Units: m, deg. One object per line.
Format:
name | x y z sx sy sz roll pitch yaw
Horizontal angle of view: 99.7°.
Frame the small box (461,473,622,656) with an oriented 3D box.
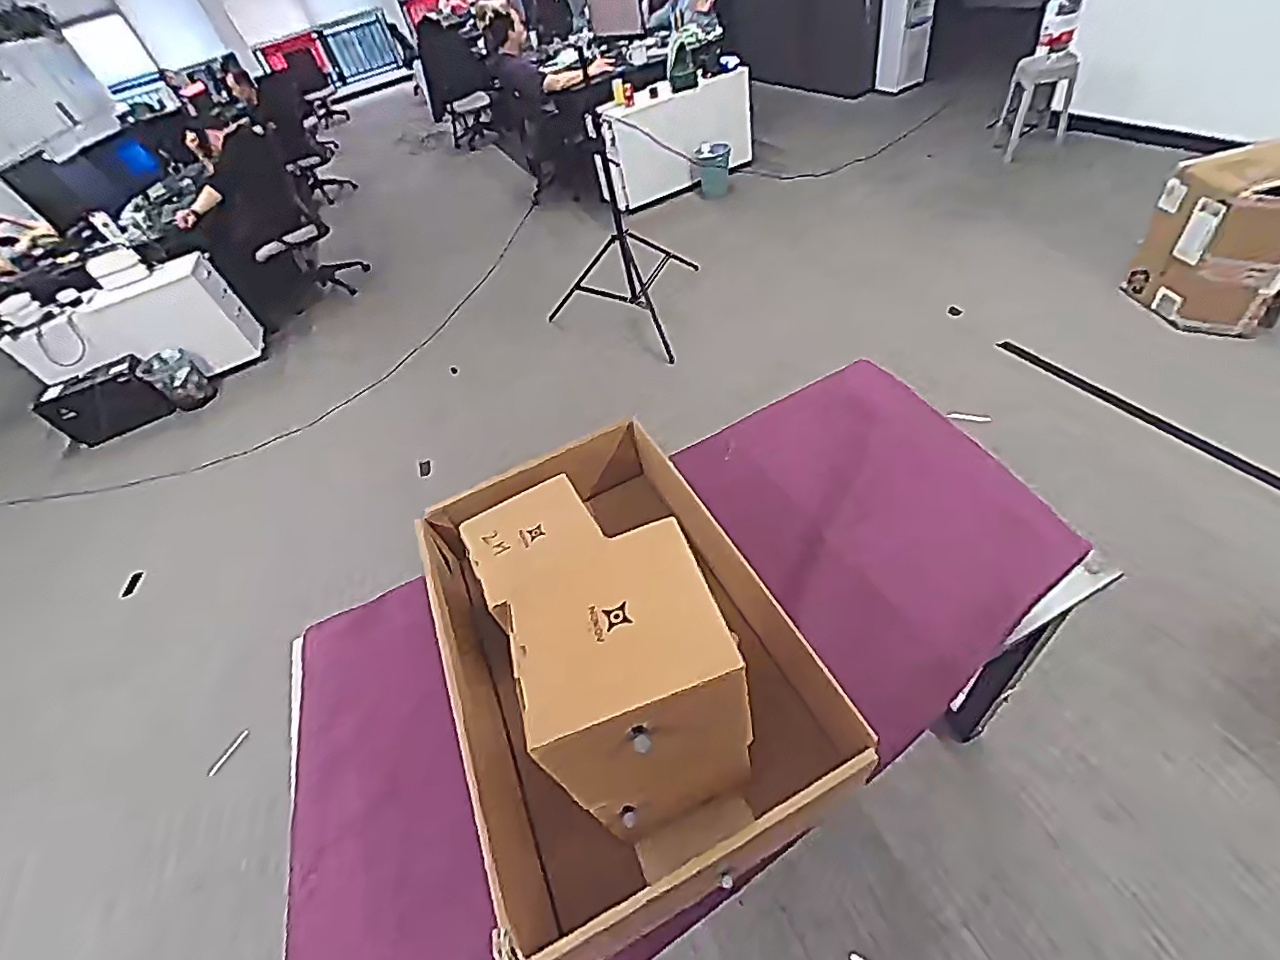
small box | -0.138 0.127 0.810 0.179 0.176 0.168 -27 48 -12
